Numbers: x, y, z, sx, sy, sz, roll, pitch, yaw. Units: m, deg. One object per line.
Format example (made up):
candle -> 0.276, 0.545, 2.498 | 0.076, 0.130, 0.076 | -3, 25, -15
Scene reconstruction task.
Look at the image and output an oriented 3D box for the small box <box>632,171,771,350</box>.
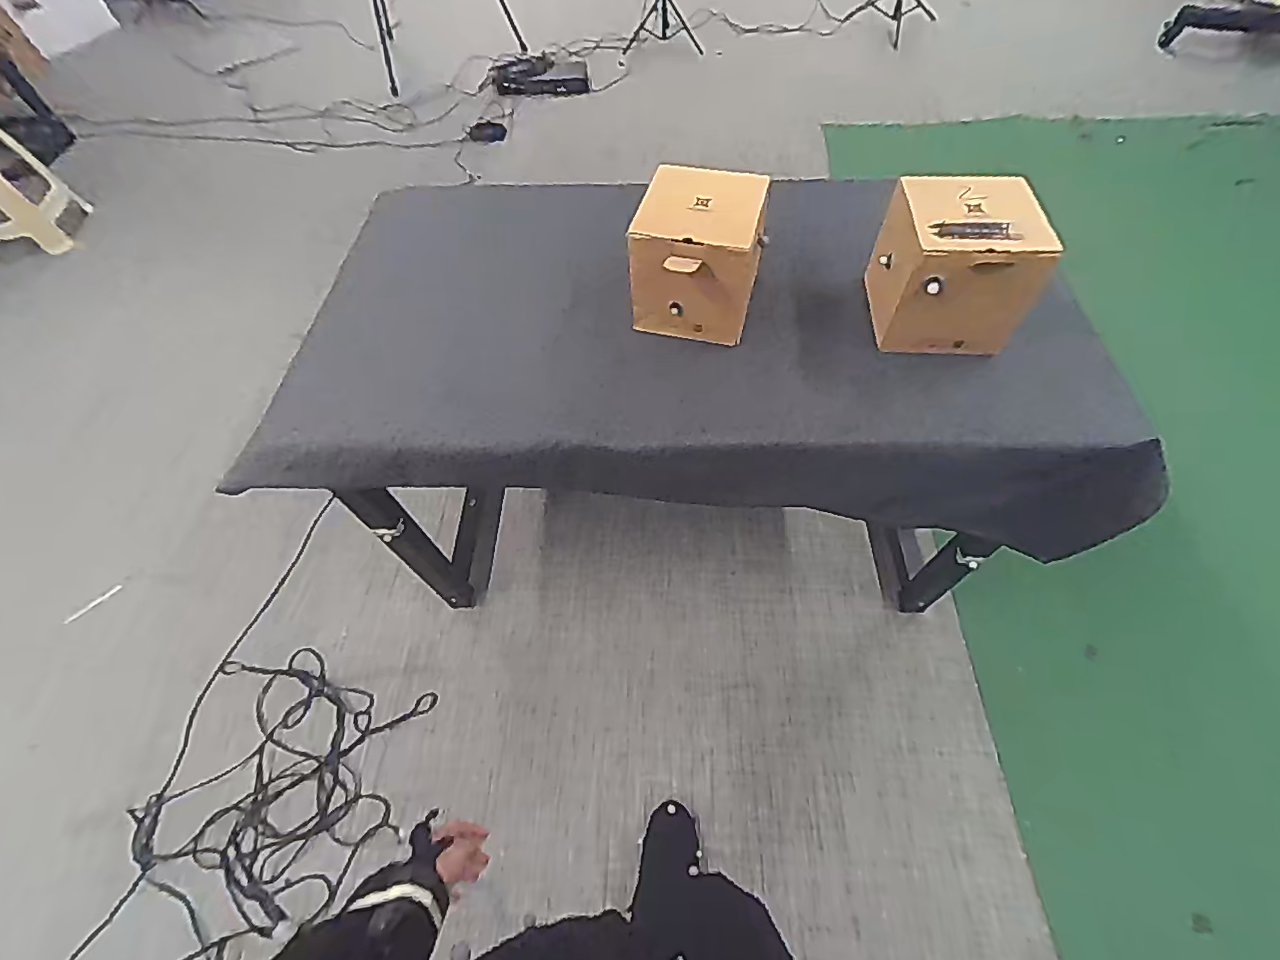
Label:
small box -> 0.090, -0.326, 0.811 | 0.168, 0.176, 0.179 | 12, 59, 10
